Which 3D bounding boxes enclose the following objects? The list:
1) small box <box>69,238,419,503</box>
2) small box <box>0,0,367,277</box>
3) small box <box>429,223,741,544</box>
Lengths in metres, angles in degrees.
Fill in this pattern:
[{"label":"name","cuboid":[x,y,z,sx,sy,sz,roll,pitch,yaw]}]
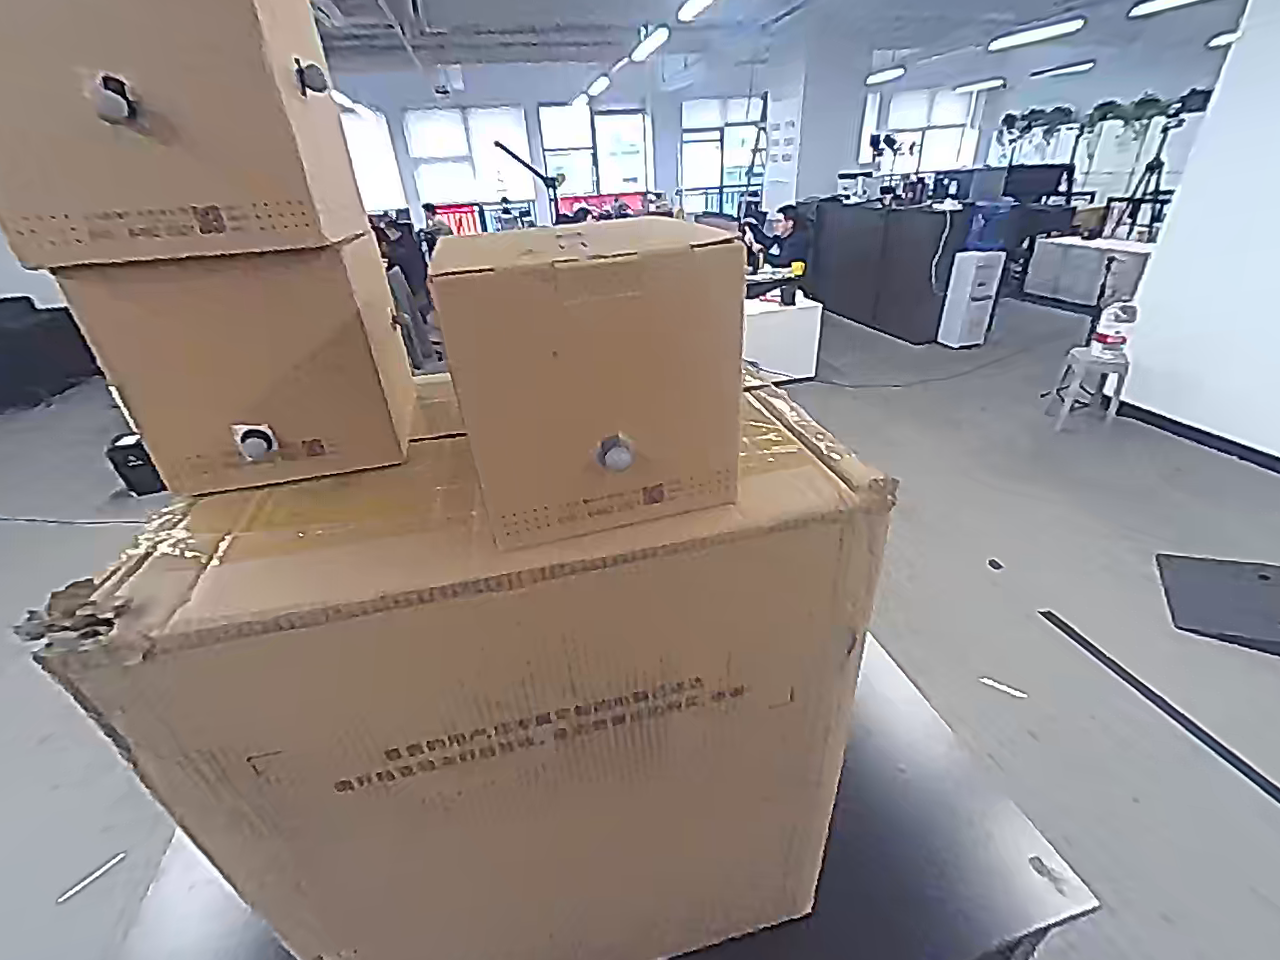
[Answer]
[{"label":"small box","cuboid":[-0.296,-0.103,0.459,0.168,0.176,0.179,-12,31,-14]},{"label":"small box","cuboid":[-0.304,-0.238,0.365,0.168,0.176,0.179,-11,30,-12]},{"label":"small box","cuboid":[-0.040,-0.080,0.388,0.168,0.176,0.179,-12,32,-11]}]
